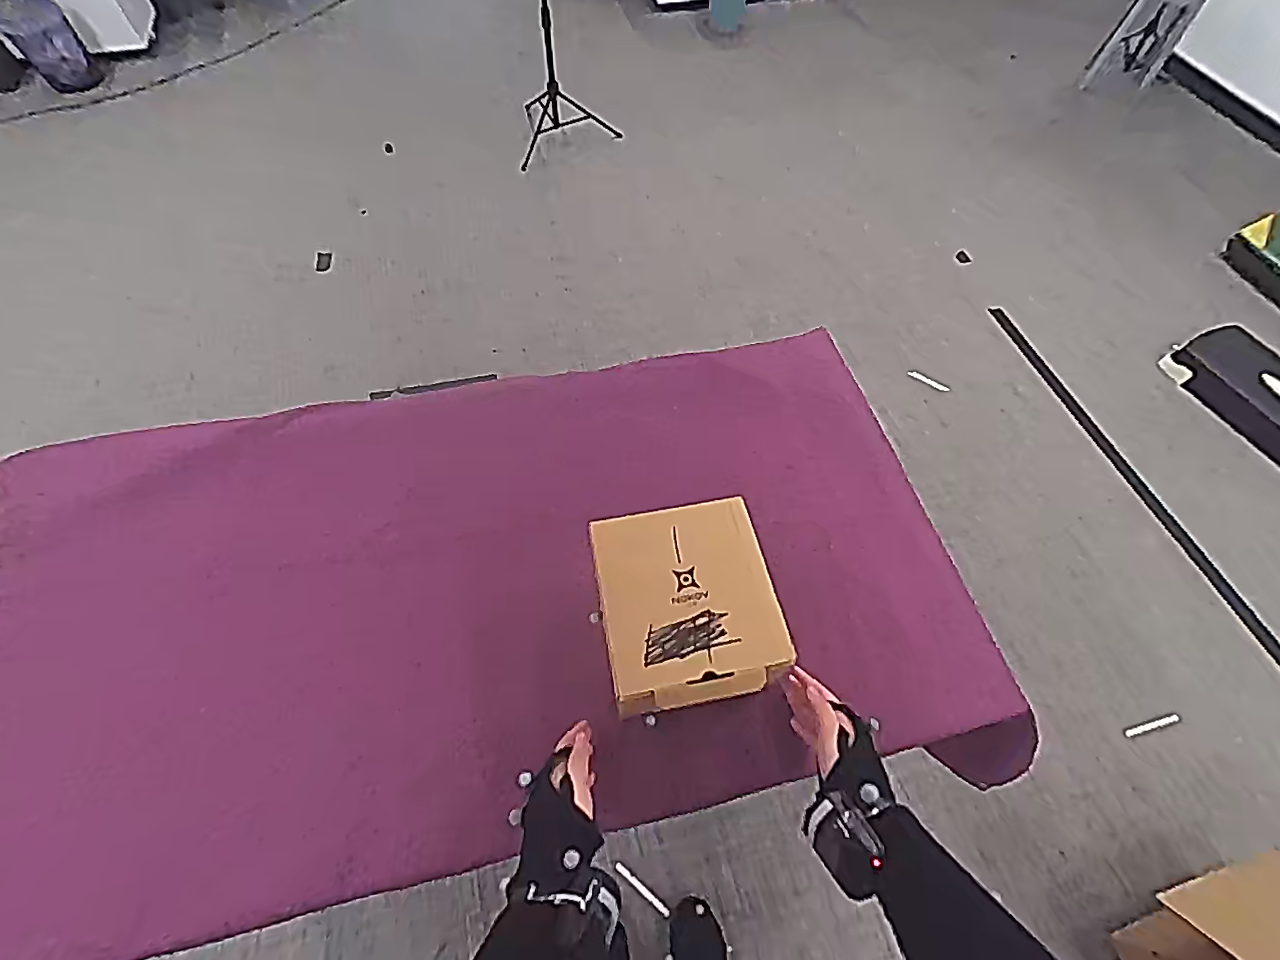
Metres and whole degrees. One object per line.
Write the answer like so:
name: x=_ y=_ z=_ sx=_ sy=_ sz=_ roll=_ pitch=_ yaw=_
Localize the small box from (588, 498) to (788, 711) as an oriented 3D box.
small box: x=0.040 y=0.144 z=0.590 sx=0.168 sy=0.176 sz=0.179 roll=-9 pitch=60 yaw=-7
